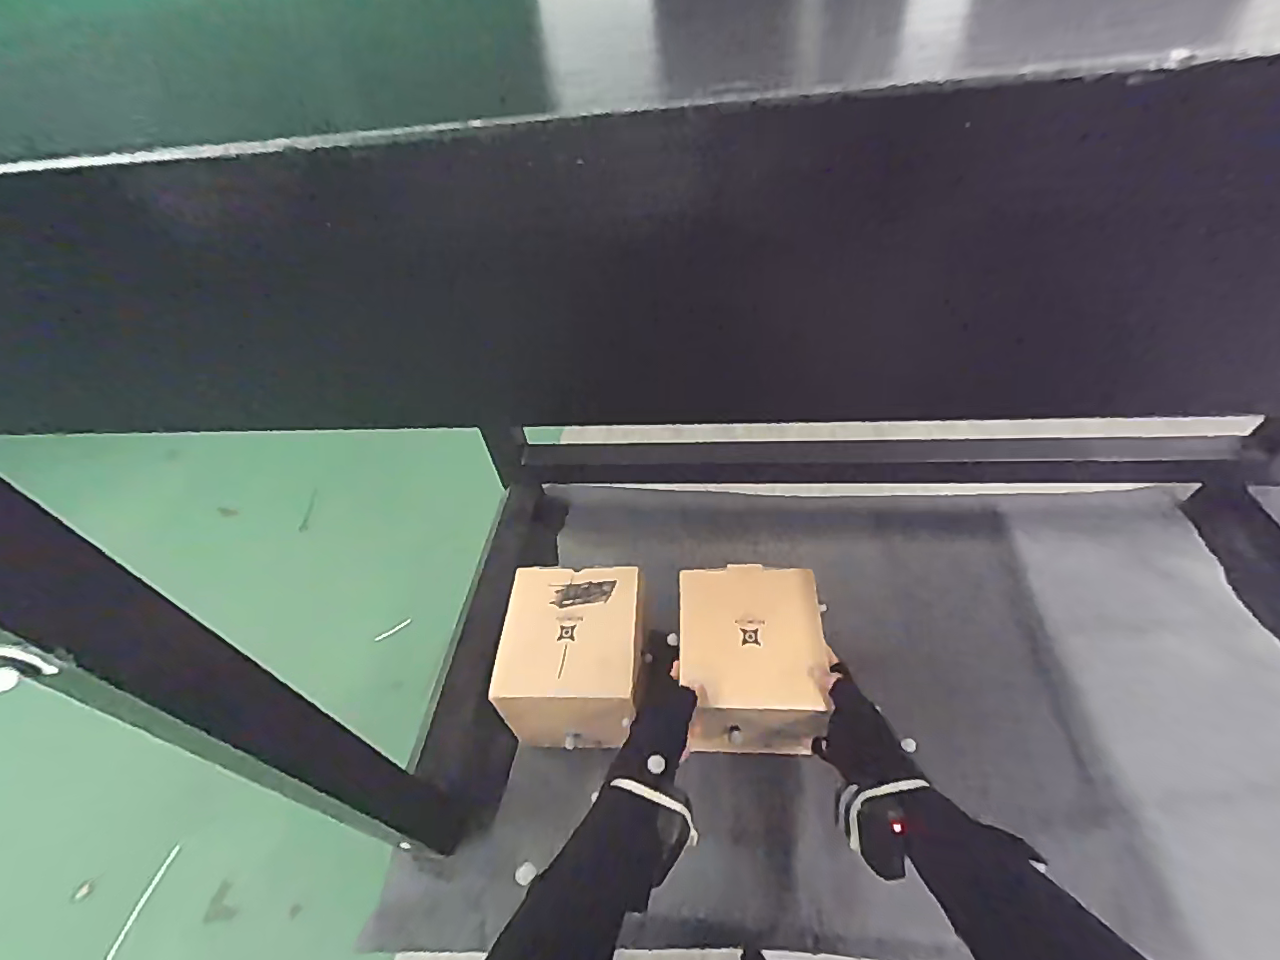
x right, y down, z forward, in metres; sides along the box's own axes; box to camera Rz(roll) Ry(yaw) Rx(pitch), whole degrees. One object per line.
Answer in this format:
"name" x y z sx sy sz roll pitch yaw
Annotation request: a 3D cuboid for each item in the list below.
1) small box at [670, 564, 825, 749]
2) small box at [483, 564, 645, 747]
"small box" 0.131 0.226 0.685 0.168 0.176 0.179 -2 47 8
"small box" -0.085 0.230 0.713 0.168 0.176 0.179 -2 46 7
